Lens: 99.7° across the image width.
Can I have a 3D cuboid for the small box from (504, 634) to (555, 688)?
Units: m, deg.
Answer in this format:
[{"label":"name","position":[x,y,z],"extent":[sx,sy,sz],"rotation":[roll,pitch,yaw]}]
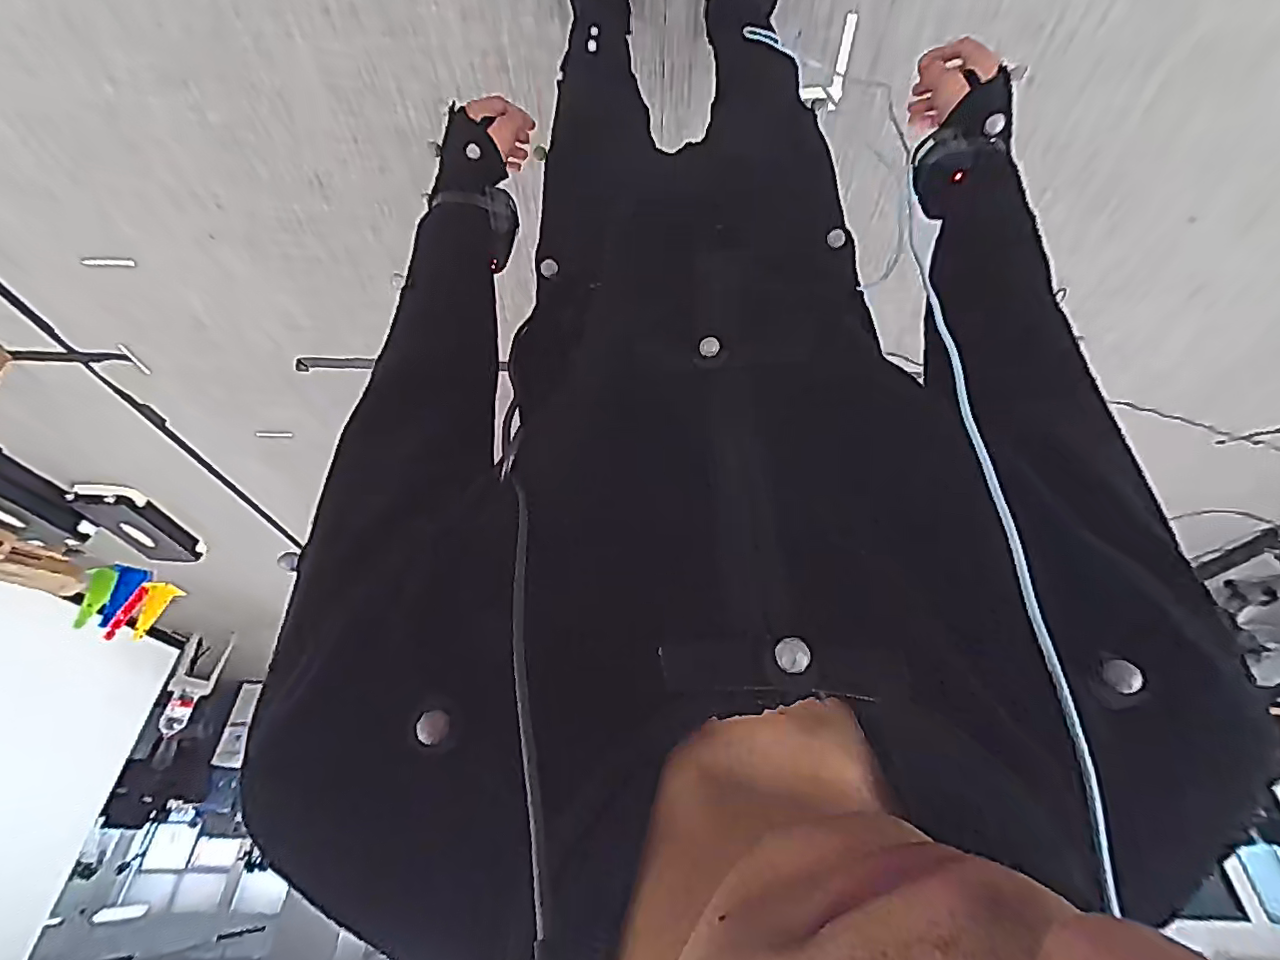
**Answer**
[{"label":"small box","position":[-0.432,0.718,2.140],"extent":[0.168,0.176,0.179],"rotation":[1,146,0]}]
